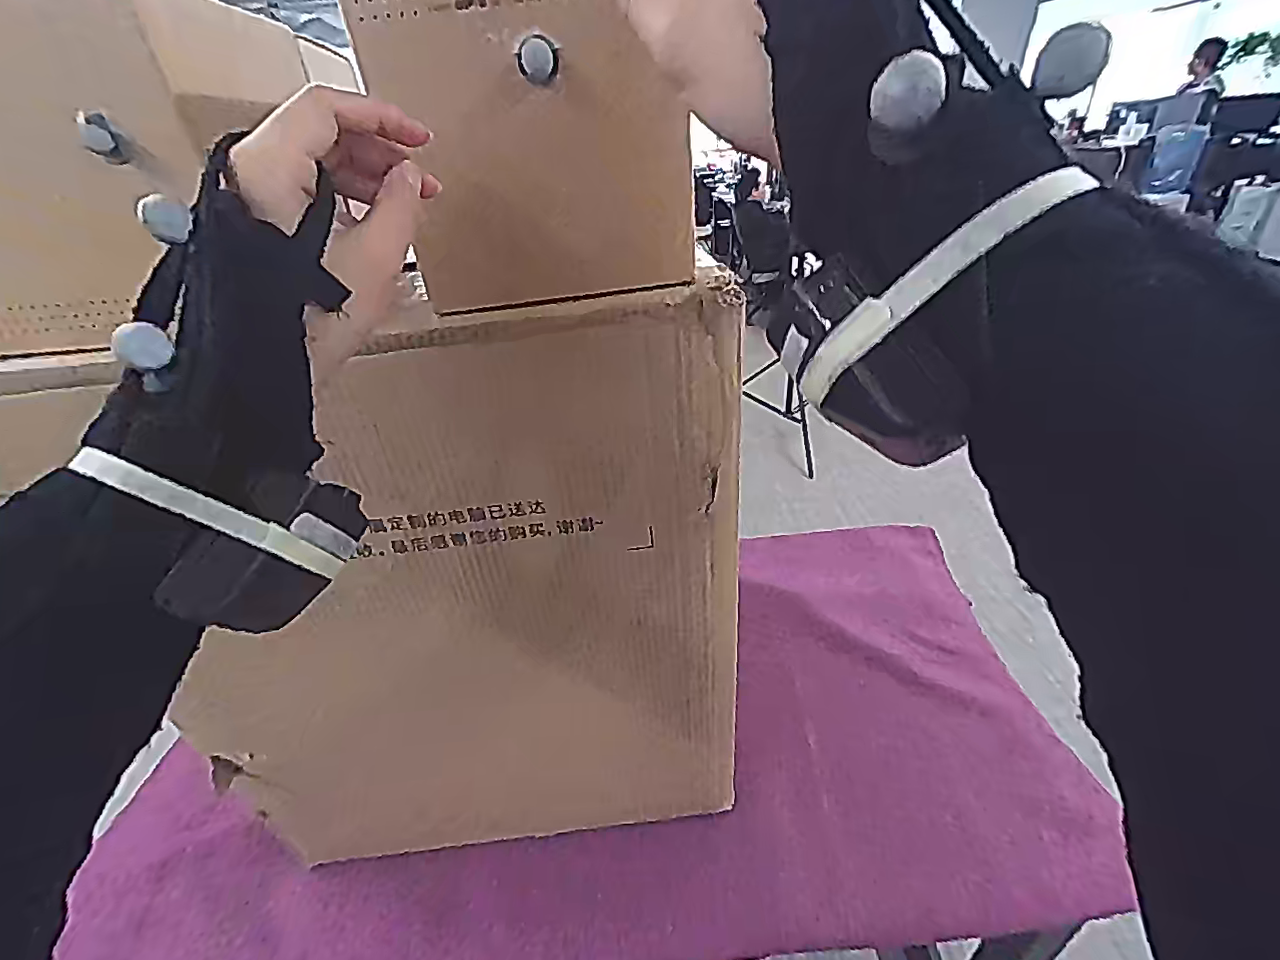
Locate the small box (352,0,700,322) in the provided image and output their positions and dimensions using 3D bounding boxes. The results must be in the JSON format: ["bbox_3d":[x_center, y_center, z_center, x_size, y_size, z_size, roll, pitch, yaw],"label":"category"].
[{"bbox_3d":[-0.058,-0.221,0.360,0.168,0.176,0.179,-8,32,-2],"label":"small box"}]
